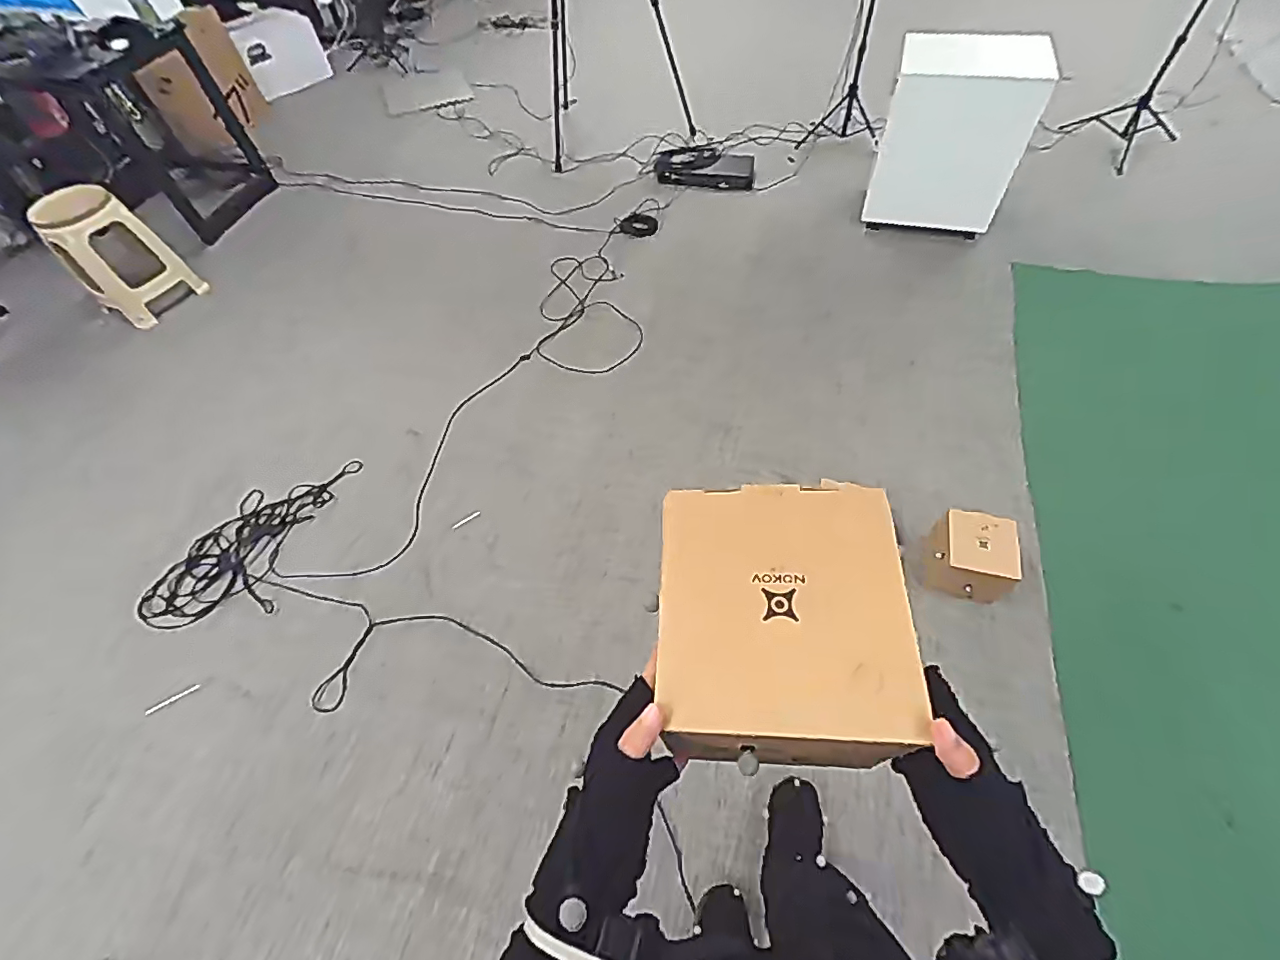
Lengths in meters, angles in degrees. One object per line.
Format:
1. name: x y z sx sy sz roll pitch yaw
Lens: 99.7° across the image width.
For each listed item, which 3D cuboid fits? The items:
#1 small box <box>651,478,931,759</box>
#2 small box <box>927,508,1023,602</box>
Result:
1. small box: 0.104 0.116 0.430 0.168 0.176 0.179 -1 57 8
2. small box: 0.882 0.203 1.437 0.168 0.176 0.179 12 58 12
